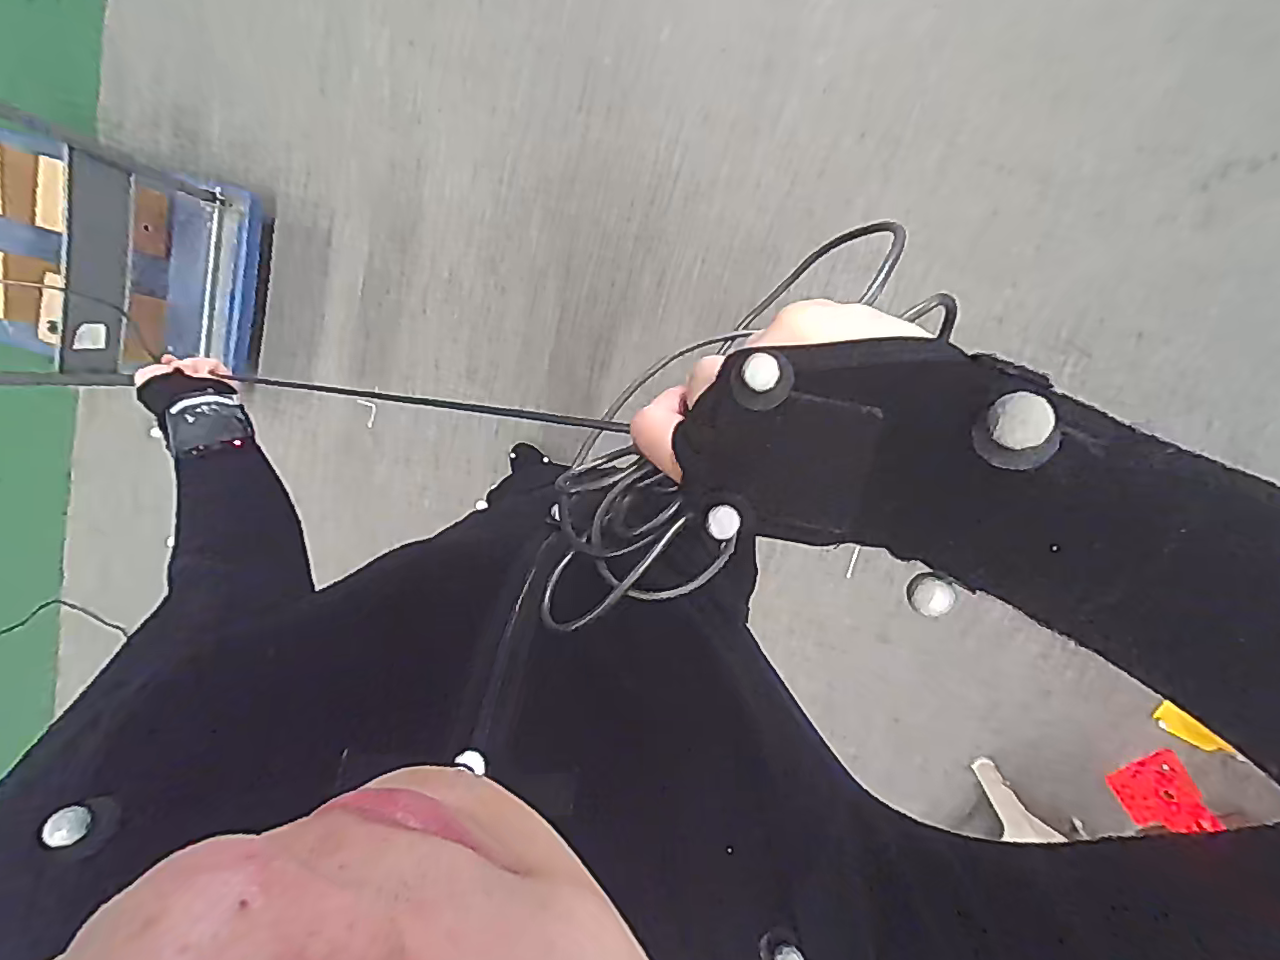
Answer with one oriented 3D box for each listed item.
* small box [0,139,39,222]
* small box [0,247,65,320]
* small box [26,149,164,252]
[{"bbox_3d":[-1.629,-0.767,1.375,0.179,0.176,0.168,12,101,2],"label":"small box"},{"bbox_3d":[-1.676,-0.524,1.420,0.179,0.176,0.168,12,100,3],"label":"small box"},{"bbox_3d":[-1.369,-0.695,1.365,0.179,0.176,0.168,16,100,1],"label":"small box"}]
